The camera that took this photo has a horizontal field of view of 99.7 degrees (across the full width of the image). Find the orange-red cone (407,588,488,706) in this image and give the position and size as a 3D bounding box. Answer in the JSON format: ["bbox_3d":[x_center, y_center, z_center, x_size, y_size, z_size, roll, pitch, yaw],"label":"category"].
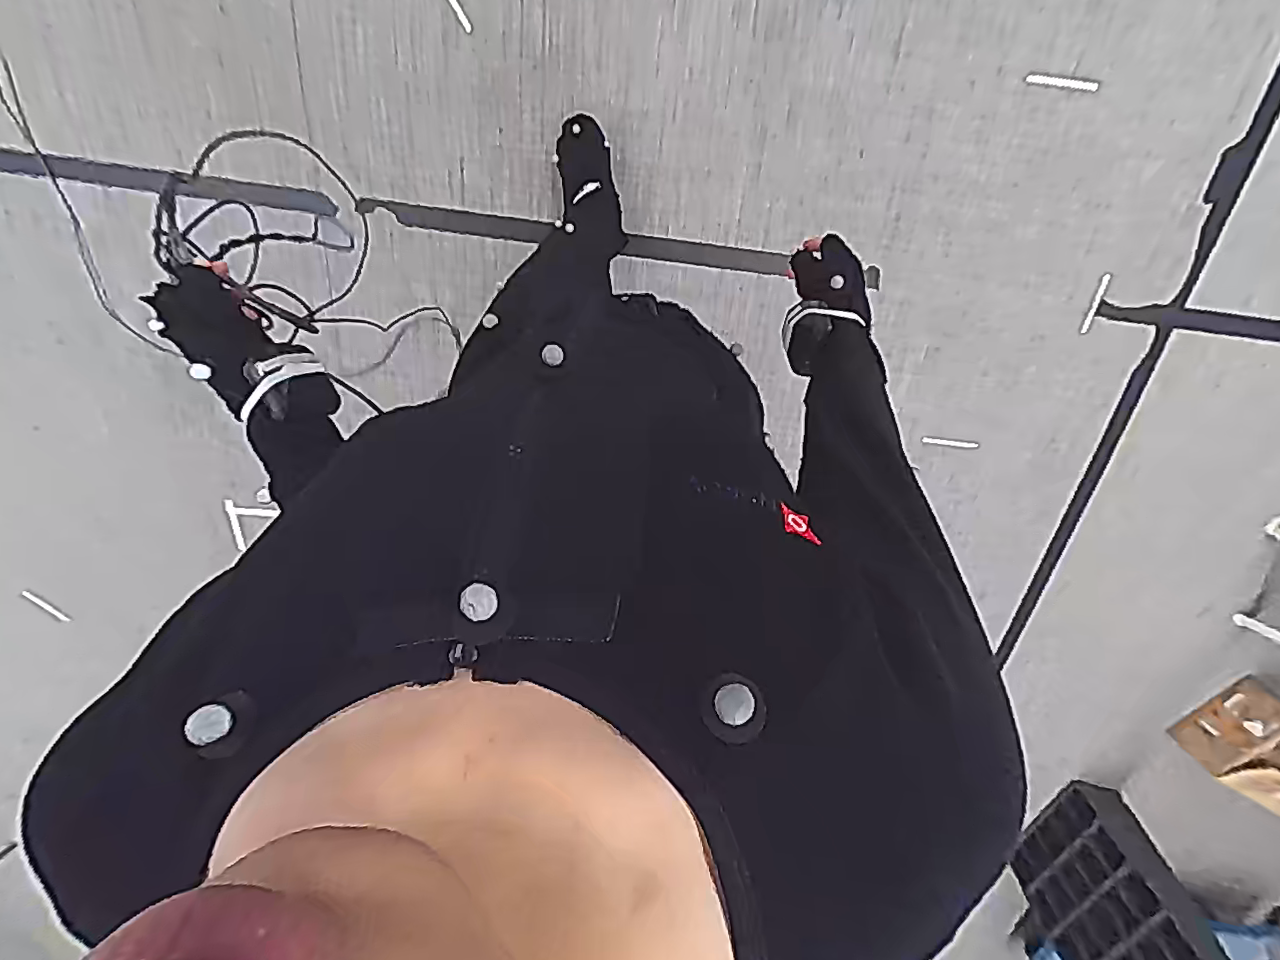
[{"bbox_3d":[-0.589,0.501,1.573,0.199,0.360,0.198,1,116,-1],"label":"orange-red cone"}]
